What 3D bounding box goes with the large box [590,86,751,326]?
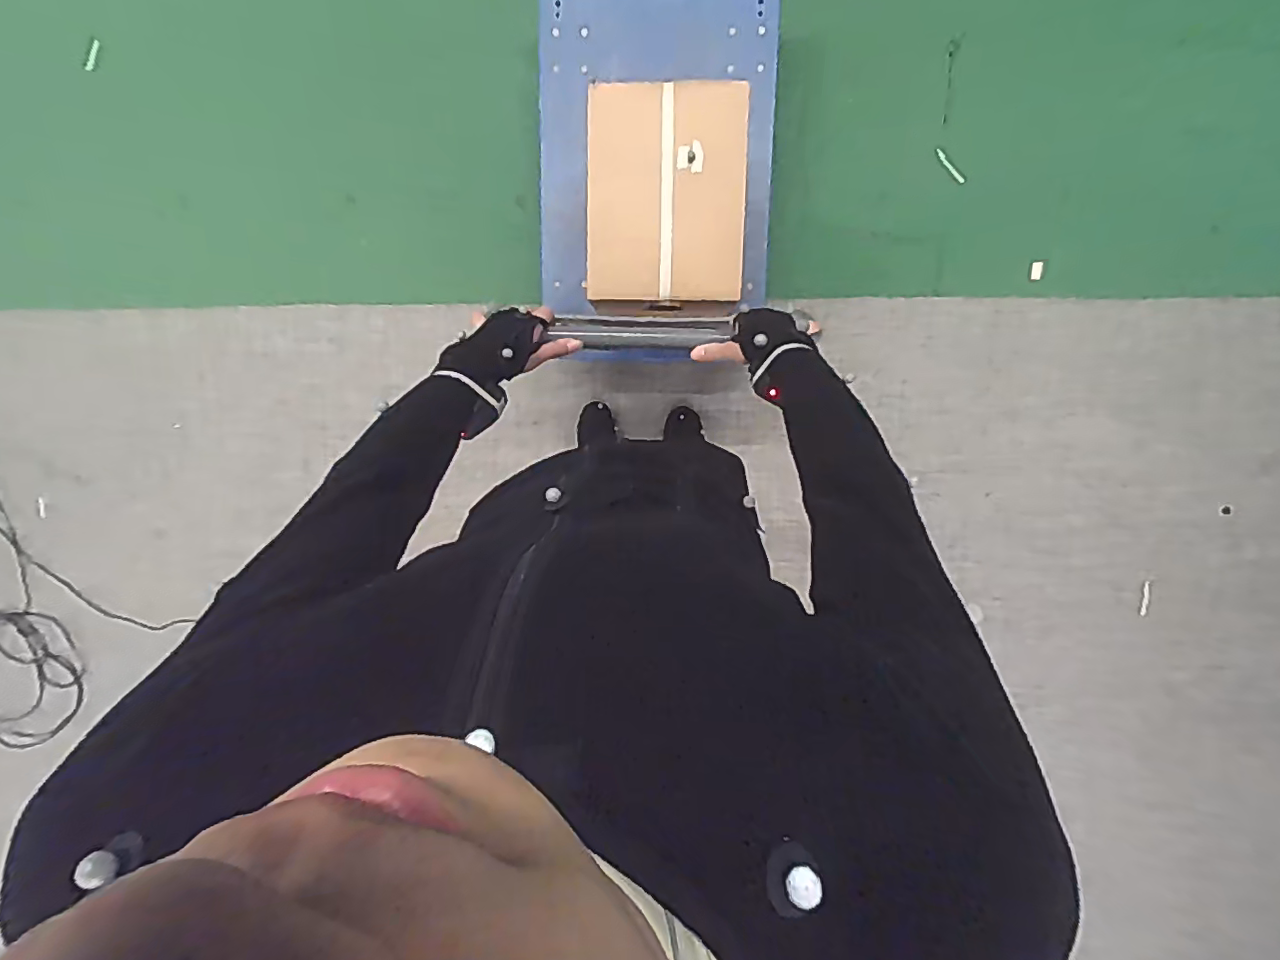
[{"bbox_3d":[0.064,-0.568,1.200,0.320,0.320,0.408,1,98,1],"label":"large box"}]
